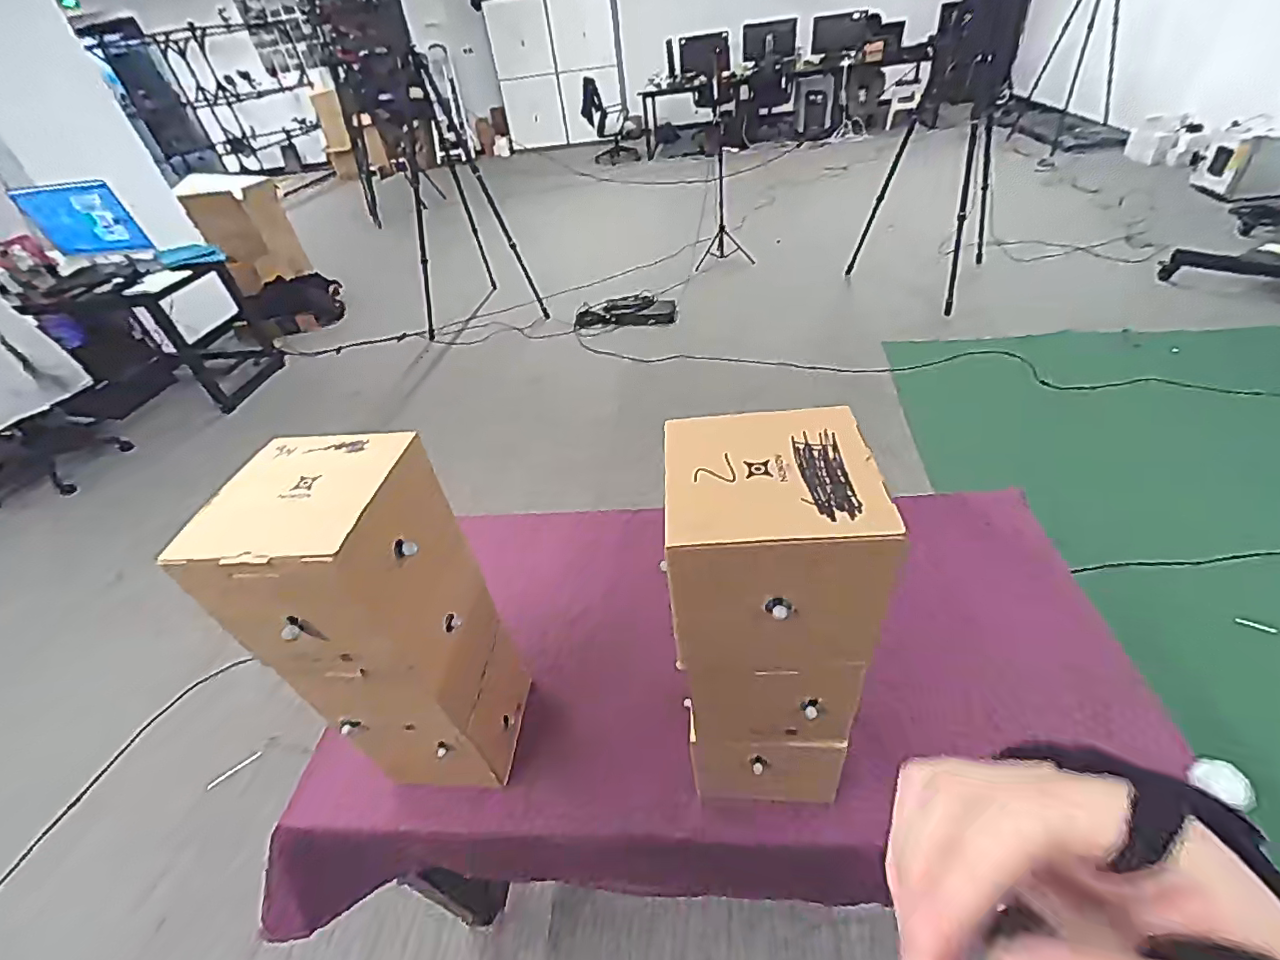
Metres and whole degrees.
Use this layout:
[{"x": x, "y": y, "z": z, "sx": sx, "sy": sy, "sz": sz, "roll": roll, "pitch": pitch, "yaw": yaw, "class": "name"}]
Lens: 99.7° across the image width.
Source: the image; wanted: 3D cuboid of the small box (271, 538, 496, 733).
[{"x": -0.294, "y": 0.193, "z": 0.671, "sx": 0.168, "sy": 0.176, "sz": 0.179, "roll": -2, "pitch": 39, "yaw": 6, "class": "small box"}]

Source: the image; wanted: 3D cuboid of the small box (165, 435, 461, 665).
[{"x": -0.306, "y": 0.073, "z": 0.558, "sx": 0.168, "sy": 0.176, "sz": 0.179, "roll": -1, "pitch": 41, "yaw": 7, "class": "small box"}]

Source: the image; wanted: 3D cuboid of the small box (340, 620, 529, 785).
[{"x": -0.277, "y": 0.318, "z": 0.776, "sx": 0.179, "sy": 0.176, "sz": 0.168, "roll": -2, "pitch": 41, "yaw": 6, "class": "small box"}]

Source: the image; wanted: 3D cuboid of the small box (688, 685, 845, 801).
[{"x": 0.159, "y": 0.303, "z": 0.714, "sx": 0.179, "sy": 0.176, "sz": 0.168, "roll": -1, "pitch": 42, "yaw": 9, "class": "small box"}]

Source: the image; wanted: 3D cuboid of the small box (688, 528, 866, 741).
[{"x": 0.141, "y": 0.176, "z": 0.613, "sx": 0.168, "sy": 0.176, "sz": 0.179, "roll": -2, "pitch": 40, "yaw": 7, "class": "small box"}]
